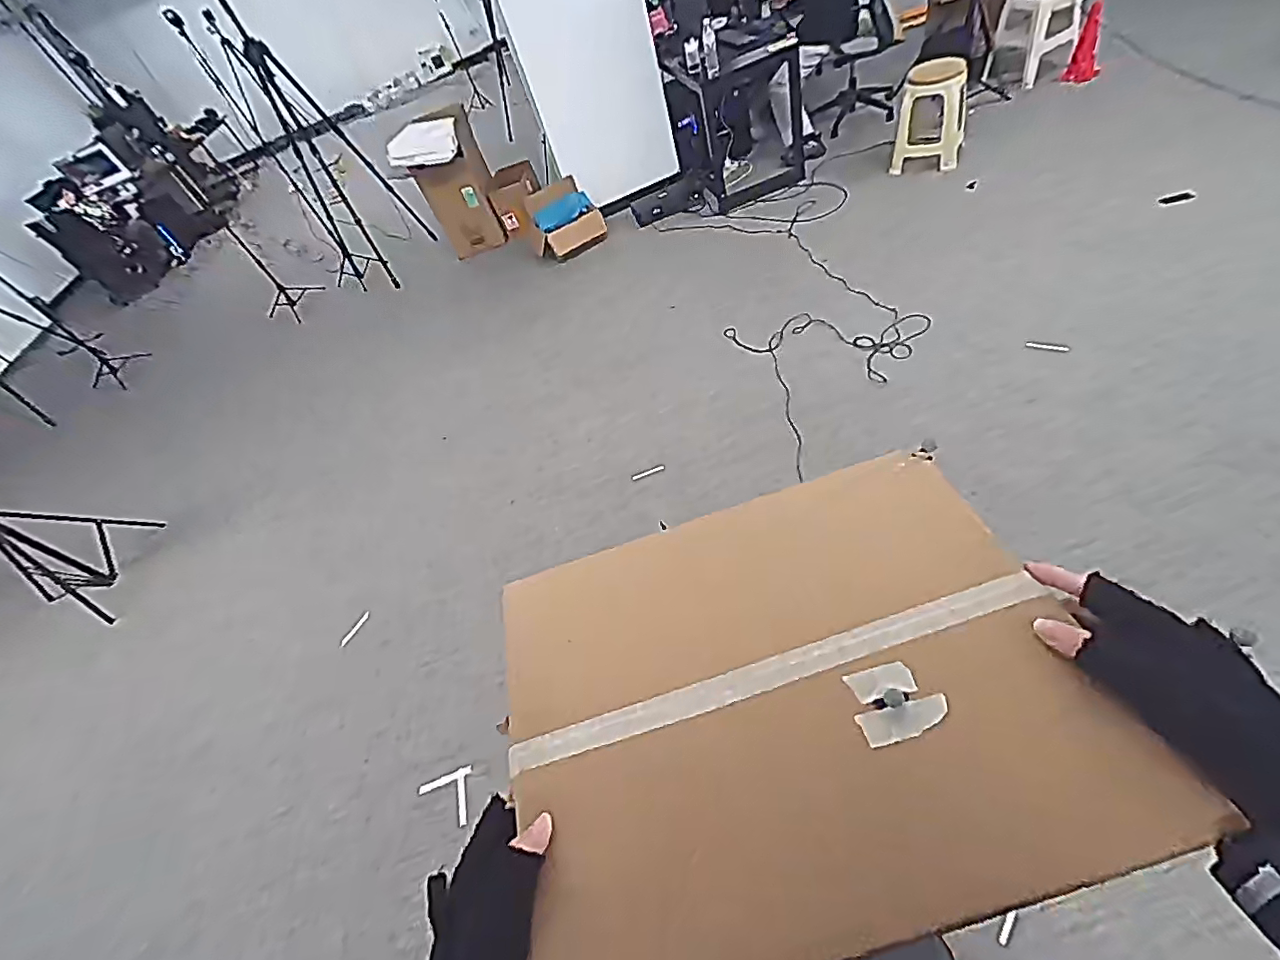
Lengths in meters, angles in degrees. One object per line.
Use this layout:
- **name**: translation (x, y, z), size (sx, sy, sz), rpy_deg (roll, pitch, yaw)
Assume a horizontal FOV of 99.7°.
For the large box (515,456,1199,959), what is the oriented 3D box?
- **large box**: translation (0.136, 0.244, 0.520), size (0.408, 0.320, 0.320), rpy_deg (-19, 48, 1)
